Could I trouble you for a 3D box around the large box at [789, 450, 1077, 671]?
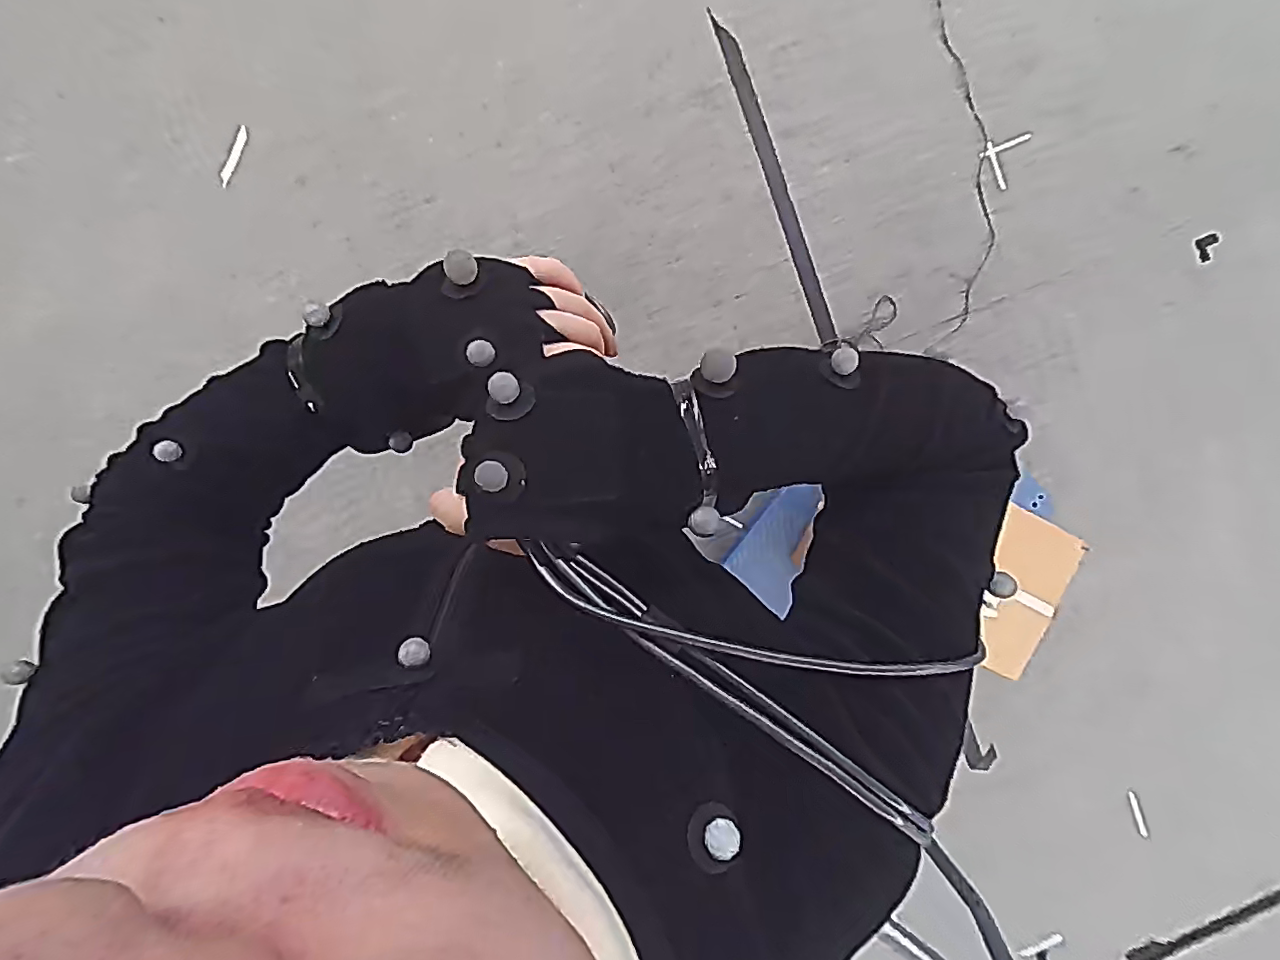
[{"bbox_3d":[0.615,0.154,1.206,0.408,0.320,0.320,27,92,-5],"label":"large box"}]
